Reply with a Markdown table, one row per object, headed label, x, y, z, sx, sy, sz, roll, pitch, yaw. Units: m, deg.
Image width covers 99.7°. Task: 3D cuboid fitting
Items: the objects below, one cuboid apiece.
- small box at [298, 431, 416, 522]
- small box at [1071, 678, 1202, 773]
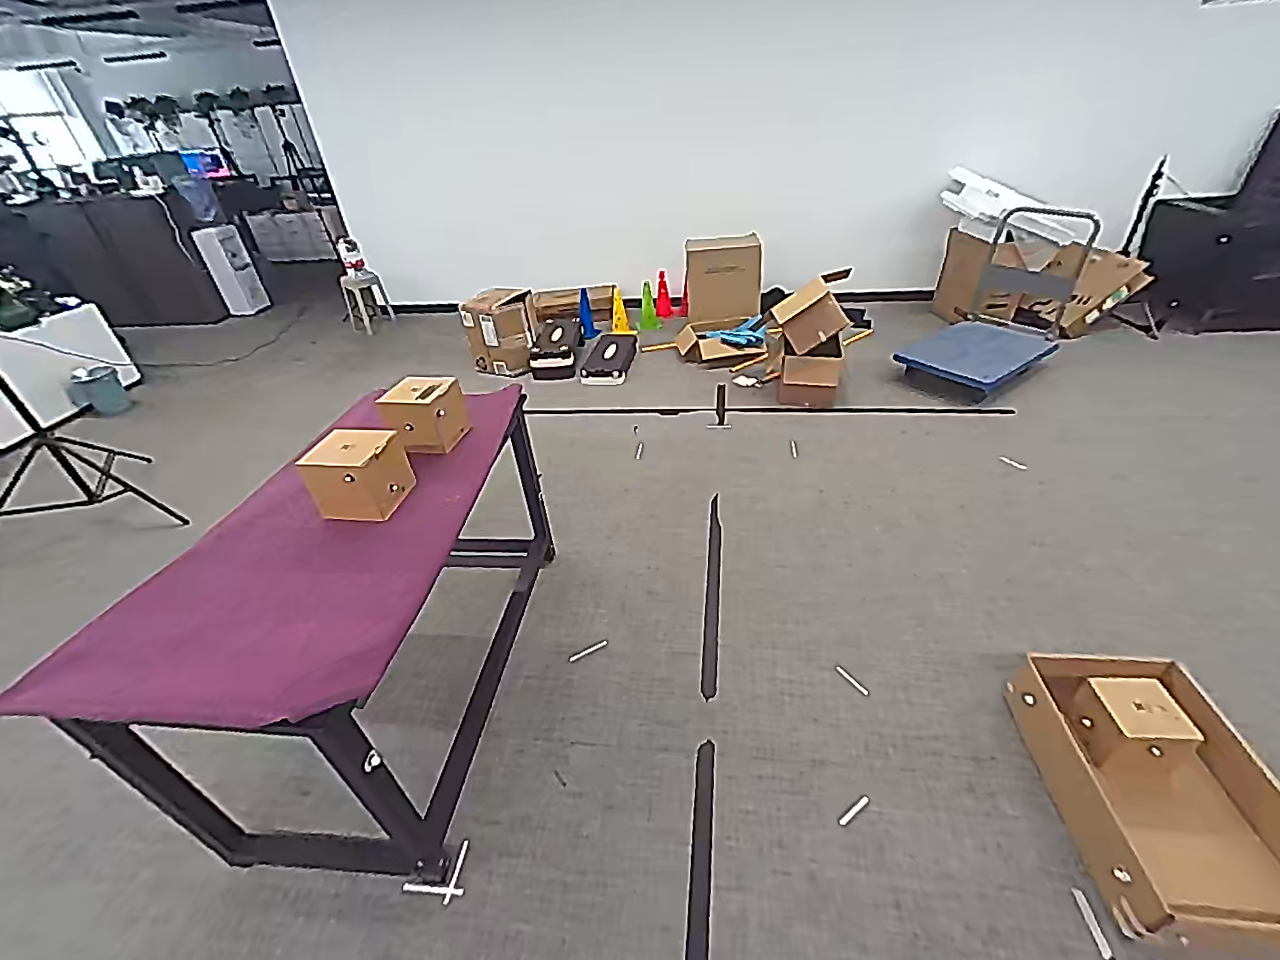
| label | x | y | z | sx | sy | sz | roll | pitch | yaw |
| --- | --- | --- | --- | --- | --- | --- | --- | --- | --- |
| small box | -0.700 | -0.009 | 1.359 | 0.179 | 0.176 | 0.168 | 2 | 36 | 9 |
| small box | 1.269 | 0.638 | 1.405 | 0.179 | 0.176 | 0.168 | -1 | 36 | 6 |
